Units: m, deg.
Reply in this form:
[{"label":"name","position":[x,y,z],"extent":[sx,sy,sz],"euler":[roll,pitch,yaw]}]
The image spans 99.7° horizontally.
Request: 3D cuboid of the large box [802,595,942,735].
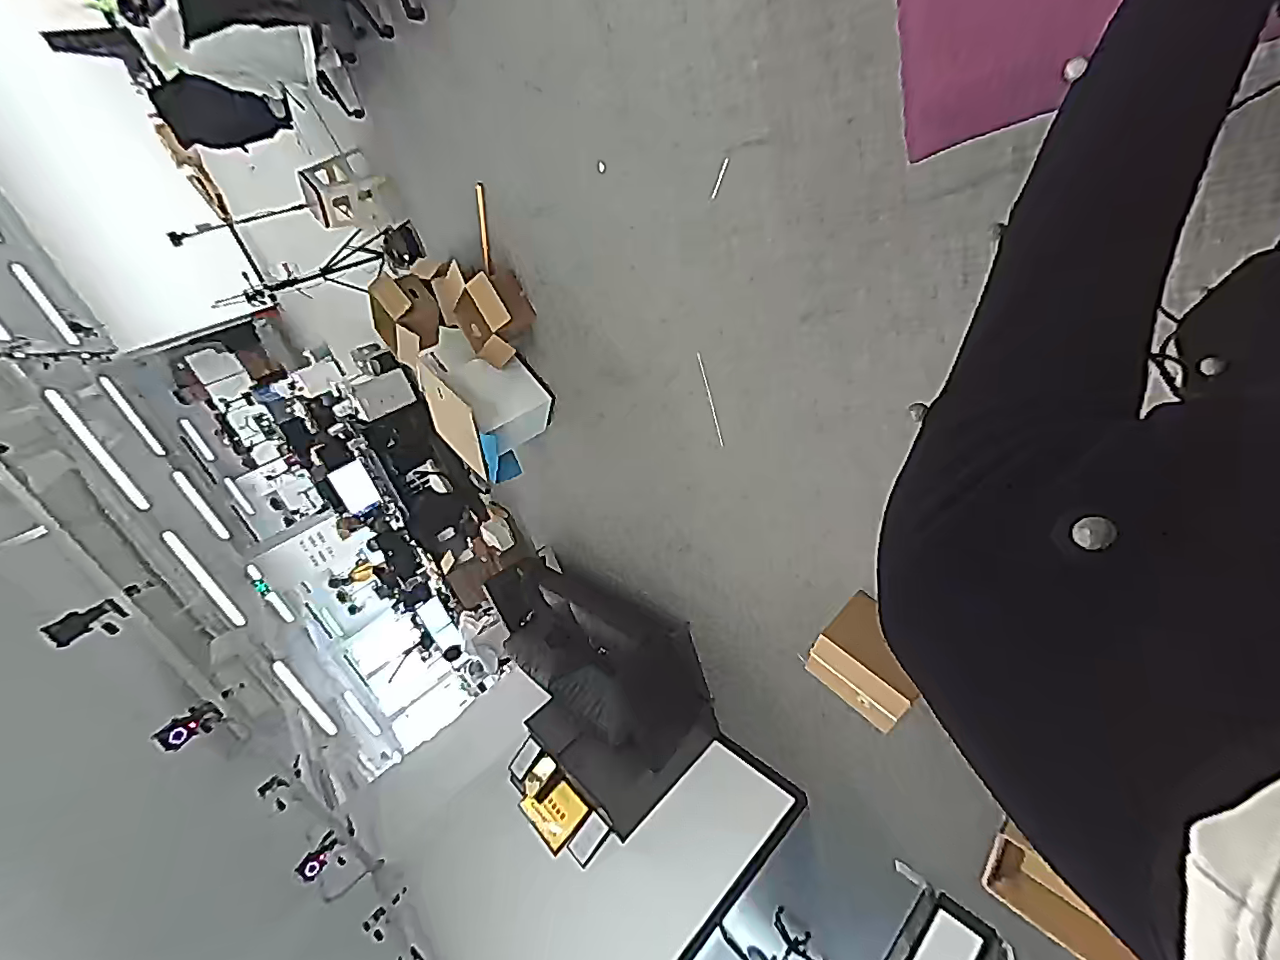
[{"label":"large box","position":[0.967,0.771,2.290],"extent":[0.408,0.320,0.320],"euler":[36,145,30]}]
